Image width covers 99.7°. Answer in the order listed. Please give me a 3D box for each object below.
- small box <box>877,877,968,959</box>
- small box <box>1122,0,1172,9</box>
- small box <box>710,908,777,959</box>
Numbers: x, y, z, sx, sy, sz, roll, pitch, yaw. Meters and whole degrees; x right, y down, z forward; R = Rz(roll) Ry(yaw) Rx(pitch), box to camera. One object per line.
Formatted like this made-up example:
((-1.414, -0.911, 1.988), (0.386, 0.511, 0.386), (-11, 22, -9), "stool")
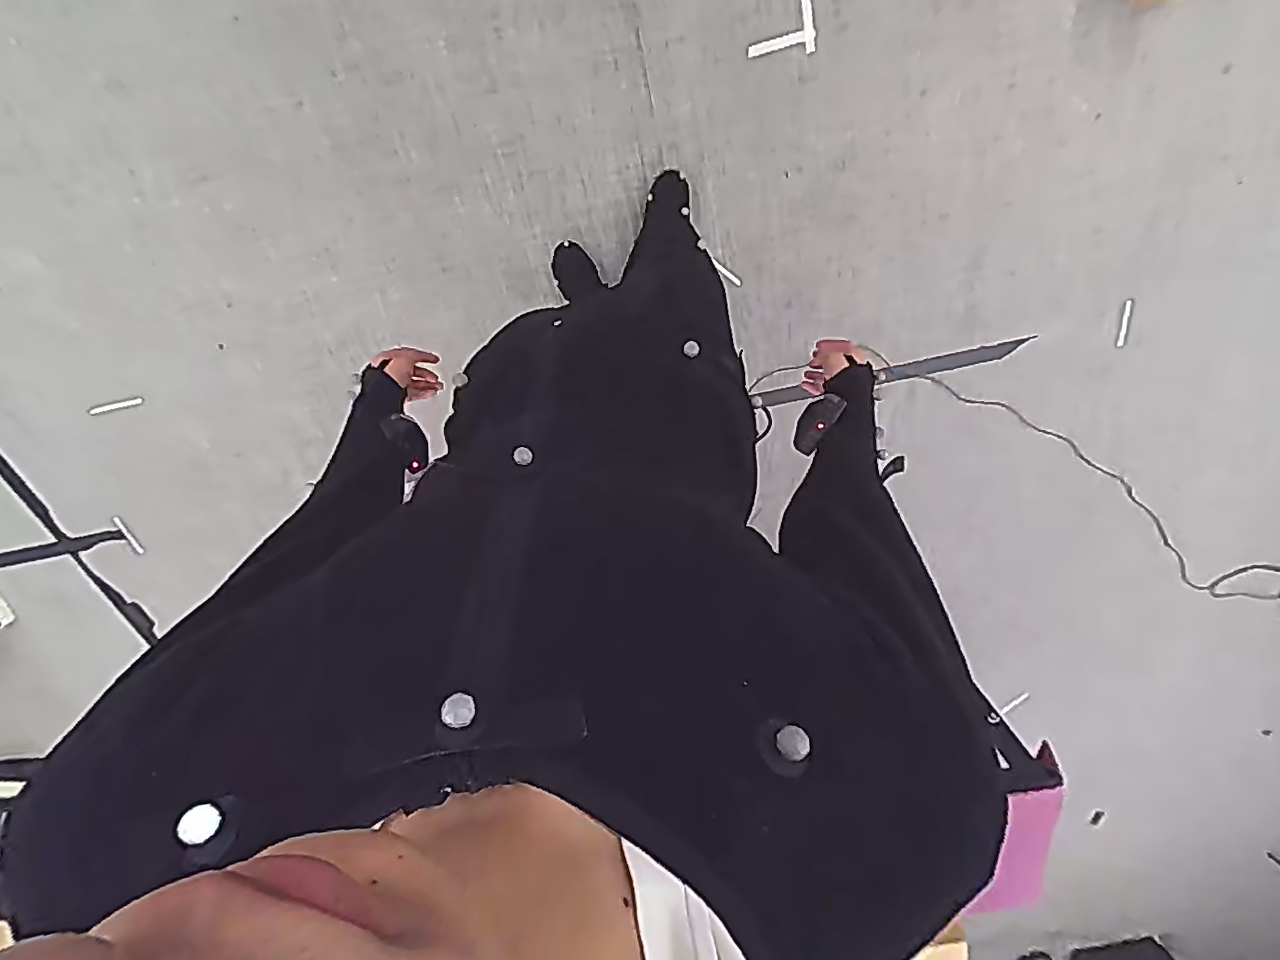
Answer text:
((0.767, 1.232, 1.480), (0.168, 0.176, 0.179), (-15, 115, 3), "small box")
((1.141, -1.158, 1.147), (0.168, 0.176, 0.179), (10, 114, -8), "small box")
((0.289, 1.332, 1.498), (0.168, 0.176, 0.179), (-6, 115, -1), "small box")
